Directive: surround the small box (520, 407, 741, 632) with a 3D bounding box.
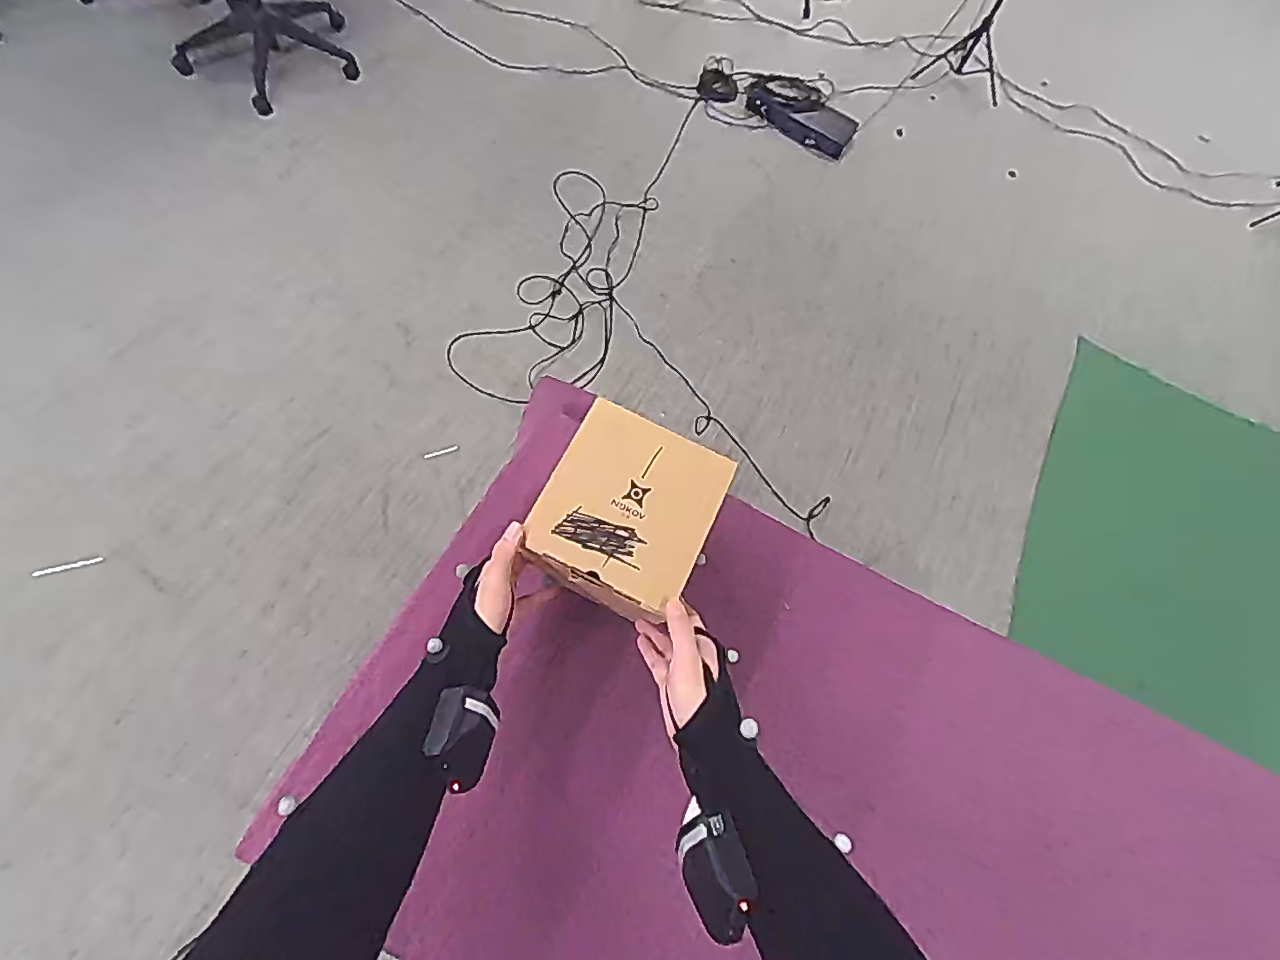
[{"bbox_3d":[-0.013,0.056,0.606,0.168,0.176,0.179,27,70,2],"label":"small box"}]
